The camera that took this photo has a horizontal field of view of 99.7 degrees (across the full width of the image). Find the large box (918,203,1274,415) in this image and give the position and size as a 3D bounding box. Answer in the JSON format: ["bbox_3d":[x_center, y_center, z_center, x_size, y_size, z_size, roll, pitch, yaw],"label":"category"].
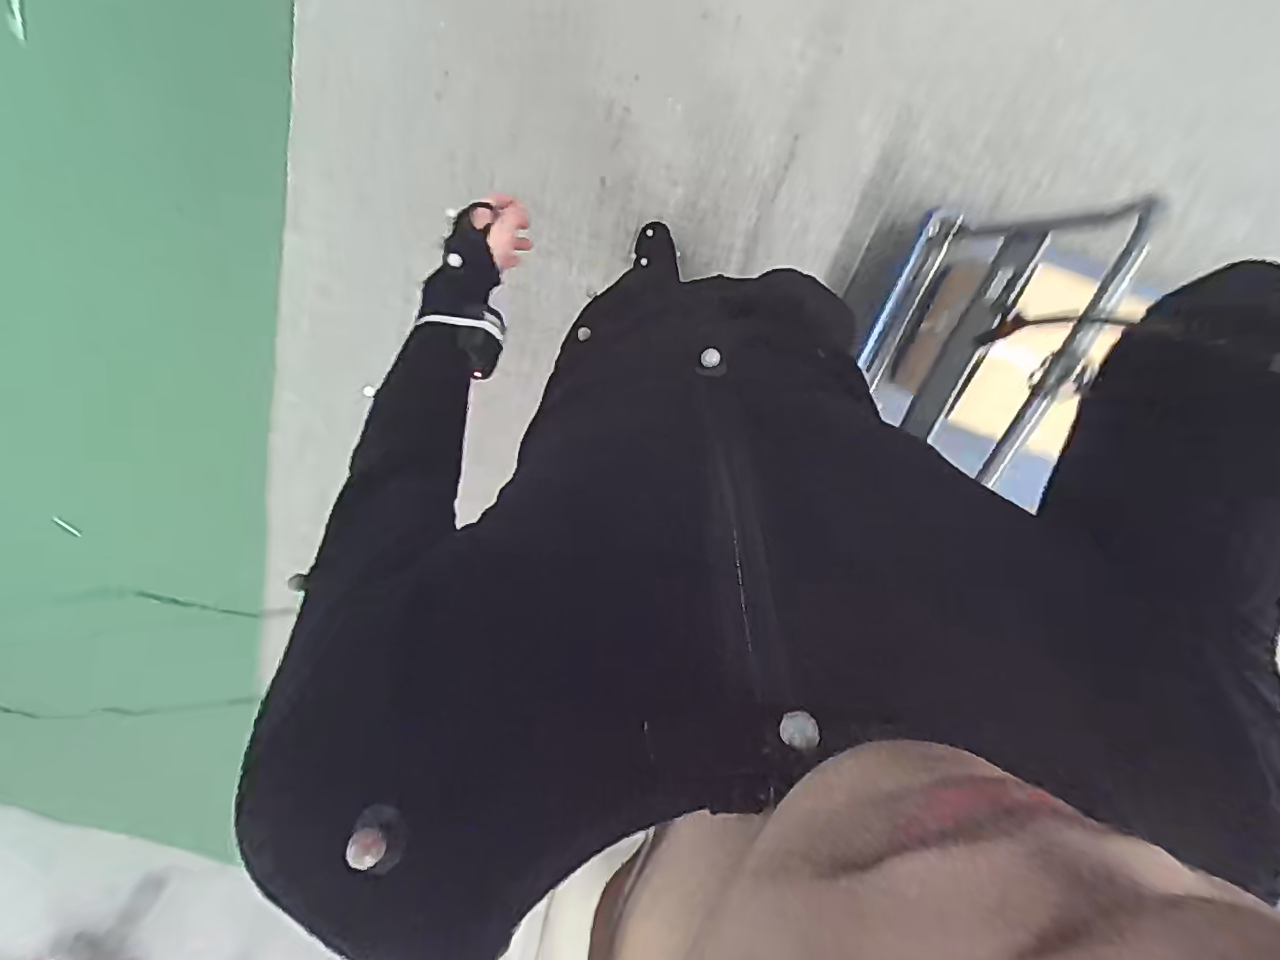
[{"bbox_3d":[0.883,-0.356,1.124,0.408,0.320,0.320,12,114,-1],"label":"large box"}]
